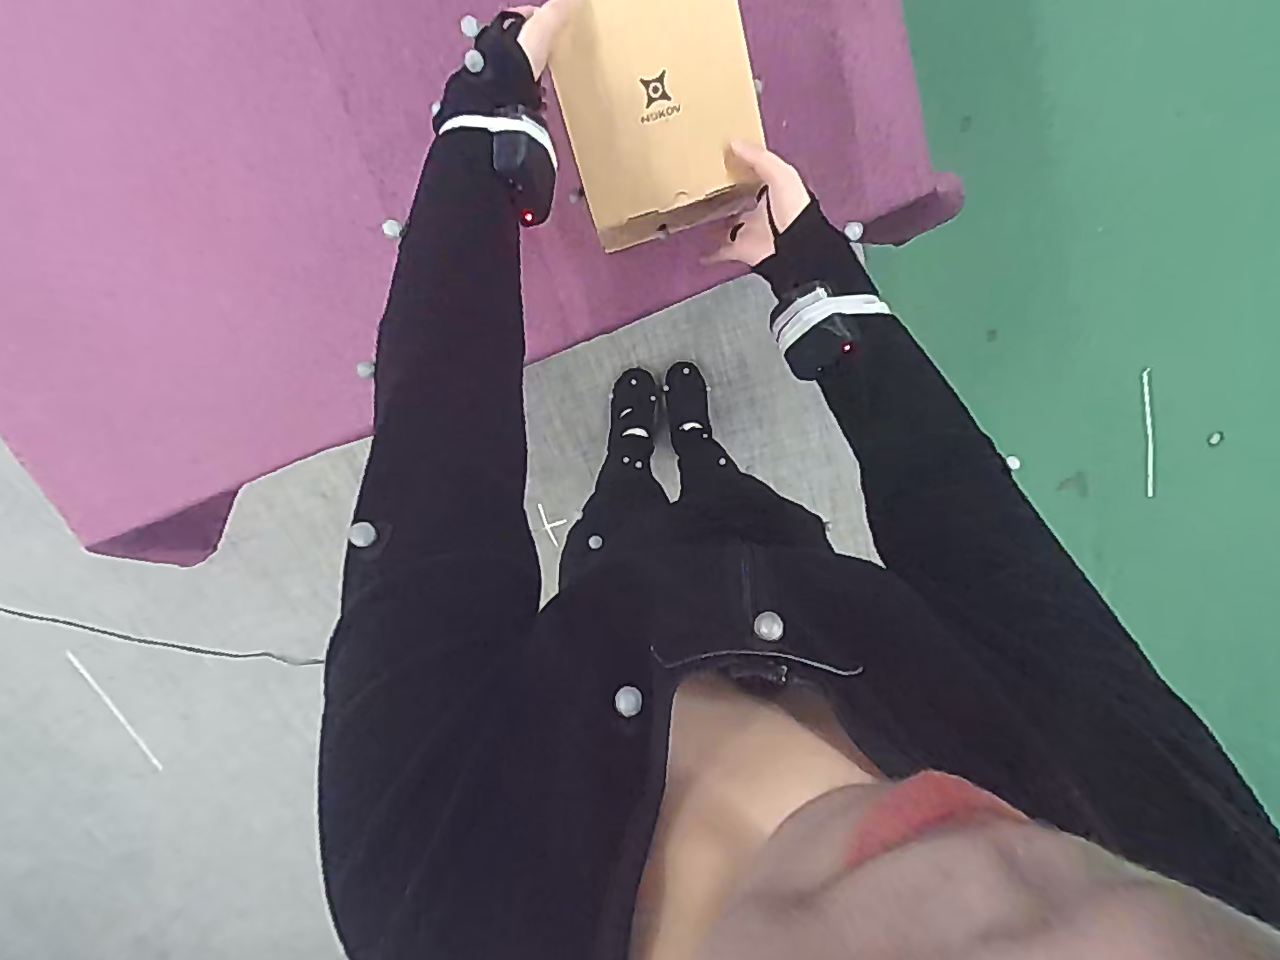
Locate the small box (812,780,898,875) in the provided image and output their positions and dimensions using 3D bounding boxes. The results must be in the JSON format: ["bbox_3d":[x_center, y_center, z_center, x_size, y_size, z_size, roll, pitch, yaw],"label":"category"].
[{"bbox_3d":[0.687,1.112,1.744,0.179,0.176,0.168,-29,105,8],"label":"small box"}]

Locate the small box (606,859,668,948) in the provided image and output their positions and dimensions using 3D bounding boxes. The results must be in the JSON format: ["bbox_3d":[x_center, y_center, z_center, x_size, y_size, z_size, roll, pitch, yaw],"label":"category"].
[{"bbox_3d":[-0.012,1.424,1.829,0.179,0.176,0.168,-12,106,3],"label":"small box"}]

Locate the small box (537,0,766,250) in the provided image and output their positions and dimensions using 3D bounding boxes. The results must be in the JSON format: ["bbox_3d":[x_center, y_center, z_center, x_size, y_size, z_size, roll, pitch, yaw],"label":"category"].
[{"bbox_3d":[0.011,-0.351,0.543,0.168,0.176,0.179,-16,107,4],"label":"small box"}]
